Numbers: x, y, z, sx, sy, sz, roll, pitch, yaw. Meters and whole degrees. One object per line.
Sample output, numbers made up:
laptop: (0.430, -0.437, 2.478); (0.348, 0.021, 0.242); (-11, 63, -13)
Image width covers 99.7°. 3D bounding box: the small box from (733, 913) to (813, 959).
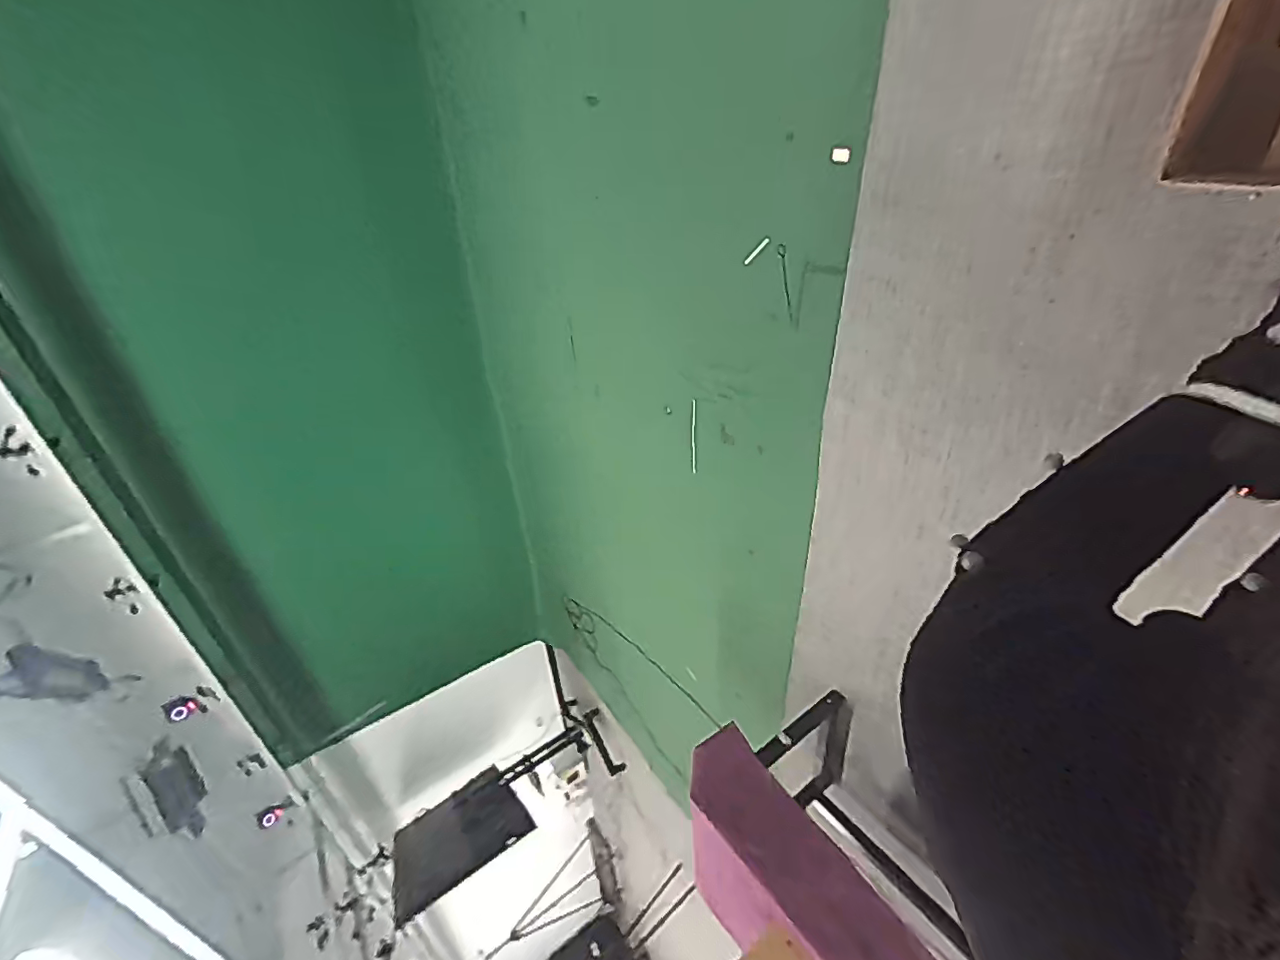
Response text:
small box: (0.377, 1.376, 1.510); (0.168, 0.176, 0.179); (31, 137, 46)
